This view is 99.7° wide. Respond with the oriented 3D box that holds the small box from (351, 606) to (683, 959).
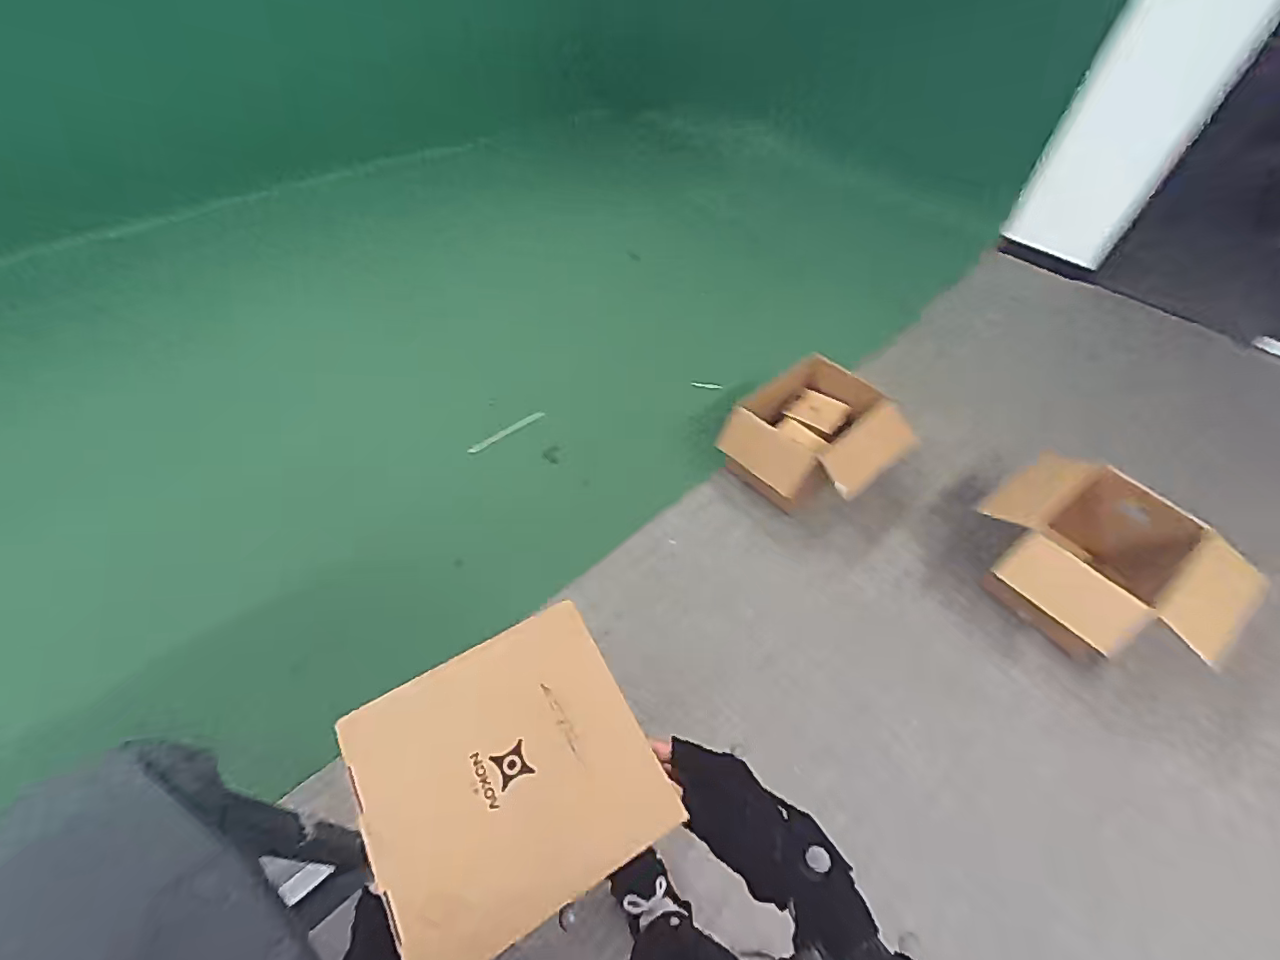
[{"bbox_3d":[-0.085,0.231,0.422,0.179,0.176,0.168,-25,63,-16],"label":"small box"}]
